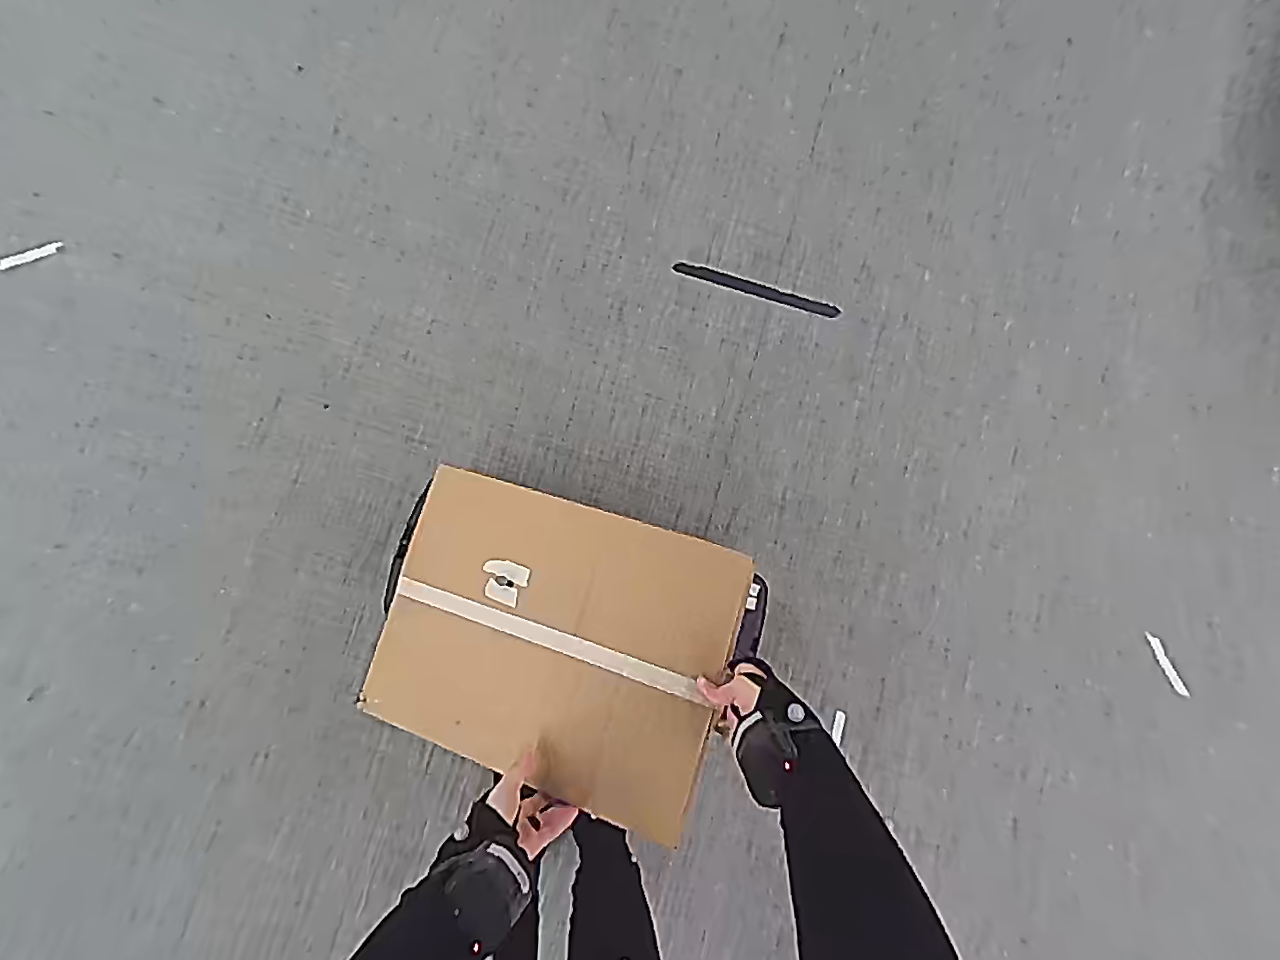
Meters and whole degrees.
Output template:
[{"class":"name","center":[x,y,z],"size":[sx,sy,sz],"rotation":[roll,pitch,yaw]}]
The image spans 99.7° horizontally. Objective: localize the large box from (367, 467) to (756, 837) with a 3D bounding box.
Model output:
[{"class":"large box","center":[-0.070,0.200,0.757],"size":[0.408,0.320,0.320],"rotation":[15,83,15]}]
